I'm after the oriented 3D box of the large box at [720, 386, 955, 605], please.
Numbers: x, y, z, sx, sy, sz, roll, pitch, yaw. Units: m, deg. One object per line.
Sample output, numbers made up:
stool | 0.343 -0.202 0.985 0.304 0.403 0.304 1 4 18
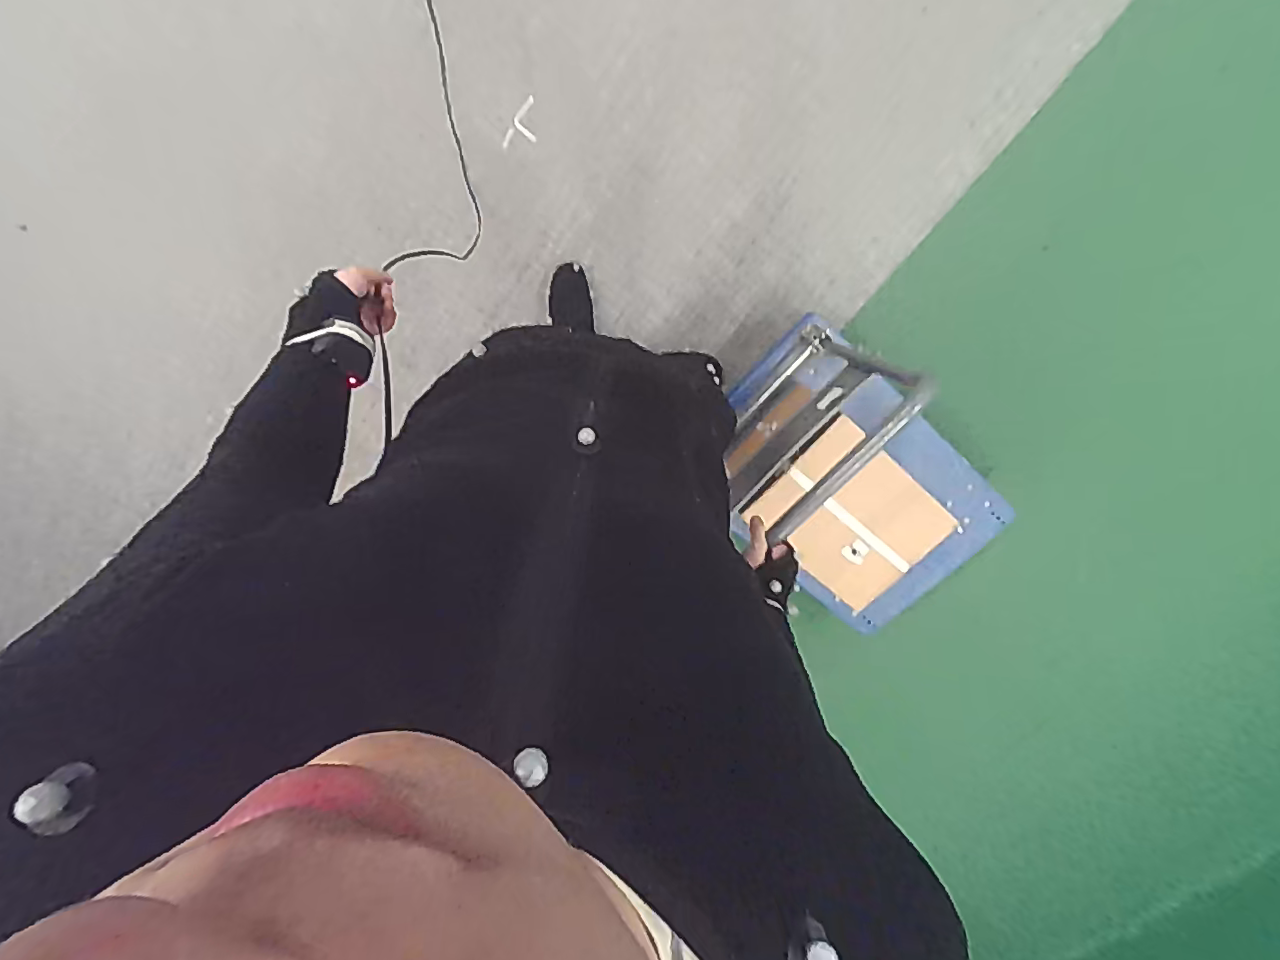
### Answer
large box | 0.468 0.027 1.360 0.408 0.320 0.320 38 107 -15
